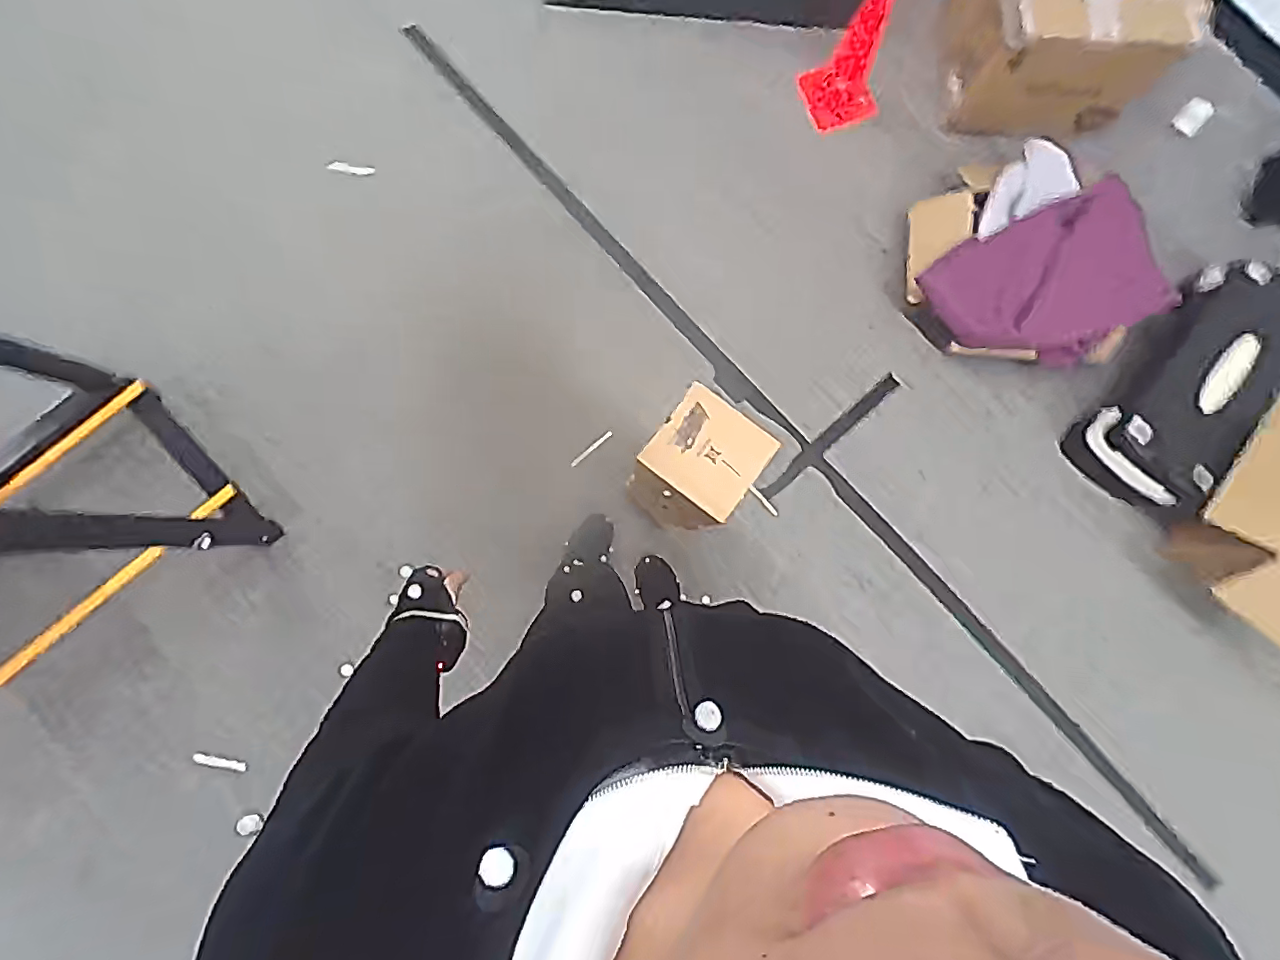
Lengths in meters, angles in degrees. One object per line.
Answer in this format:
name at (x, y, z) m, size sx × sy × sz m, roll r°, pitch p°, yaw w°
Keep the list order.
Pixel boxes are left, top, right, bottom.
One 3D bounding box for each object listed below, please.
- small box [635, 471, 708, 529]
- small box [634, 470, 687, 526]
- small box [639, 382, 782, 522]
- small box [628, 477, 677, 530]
small box at (0.107, -0.013, 1.109) m, size 0.168 × 0.176 × 0.179 m, roll 38°, pitch 85°, yaw 3°
small box at (0.098, -0.007, 1.273) m, size 0.168 × 0.176 × 0.179 m, roll 40°, pitch 84°, yaw 4°
small box at (0.111, -0.037, 0.945) m, size 0.179 × 0.176 × 0.168 m, roll 38°, pitch 84°, yaw 3°
small box at (0.081, 0.017, 1.436) m, size 0.168 × 0.176 × 0.179 m, roll 45°, pitch 86°, yaw 4°
